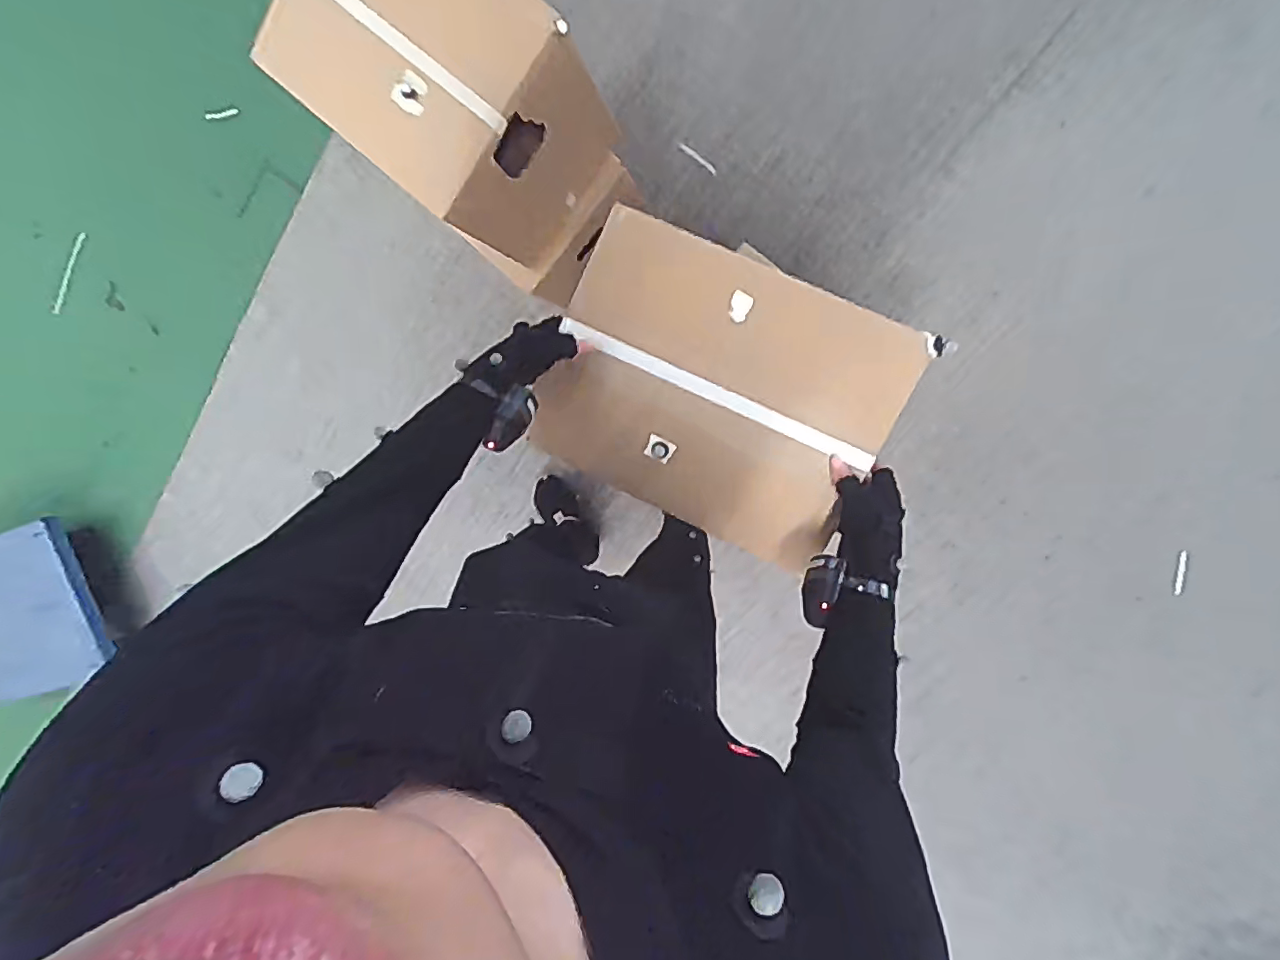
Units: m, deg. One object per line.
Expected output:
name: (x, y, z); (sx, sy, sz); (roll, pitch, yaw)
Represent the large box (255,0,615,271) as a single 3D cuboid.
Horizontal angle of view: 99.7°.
large box: (-0.311, -0.635, 0.916); (0.408, 0.320, 0.320); (41, 103, 4)
